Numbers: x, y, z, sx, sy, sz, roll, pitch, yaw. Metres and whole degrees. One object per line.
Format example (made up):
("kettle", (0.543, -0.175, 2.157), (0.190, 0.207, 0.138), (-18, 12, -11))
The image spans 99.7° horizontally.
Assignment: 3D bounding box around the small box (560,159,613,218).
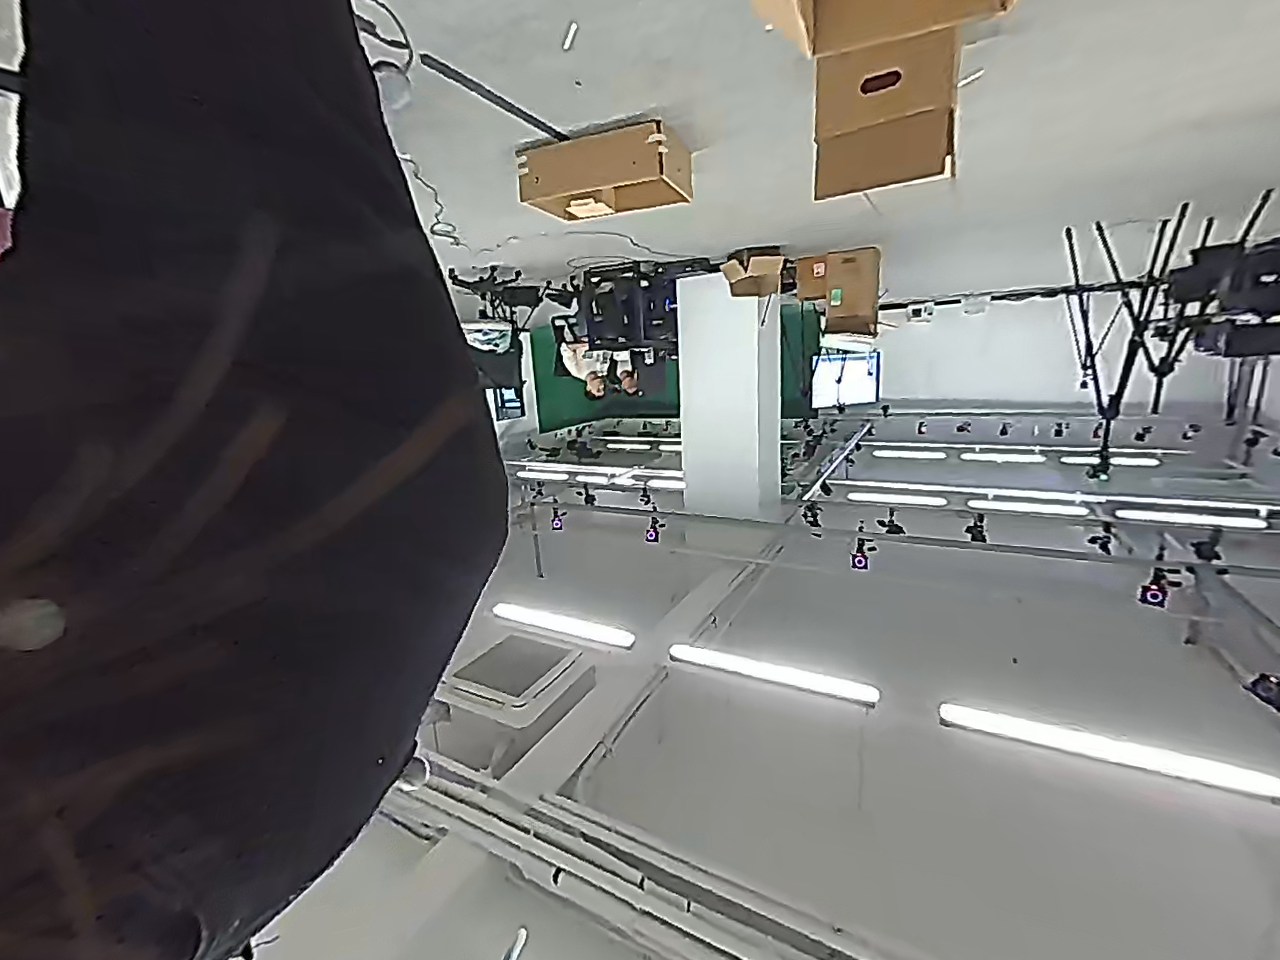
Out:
("small box", (-0.217, -1.187, 2.199), (0.168, 0.176, 0.179), (-1, -167, 15))
